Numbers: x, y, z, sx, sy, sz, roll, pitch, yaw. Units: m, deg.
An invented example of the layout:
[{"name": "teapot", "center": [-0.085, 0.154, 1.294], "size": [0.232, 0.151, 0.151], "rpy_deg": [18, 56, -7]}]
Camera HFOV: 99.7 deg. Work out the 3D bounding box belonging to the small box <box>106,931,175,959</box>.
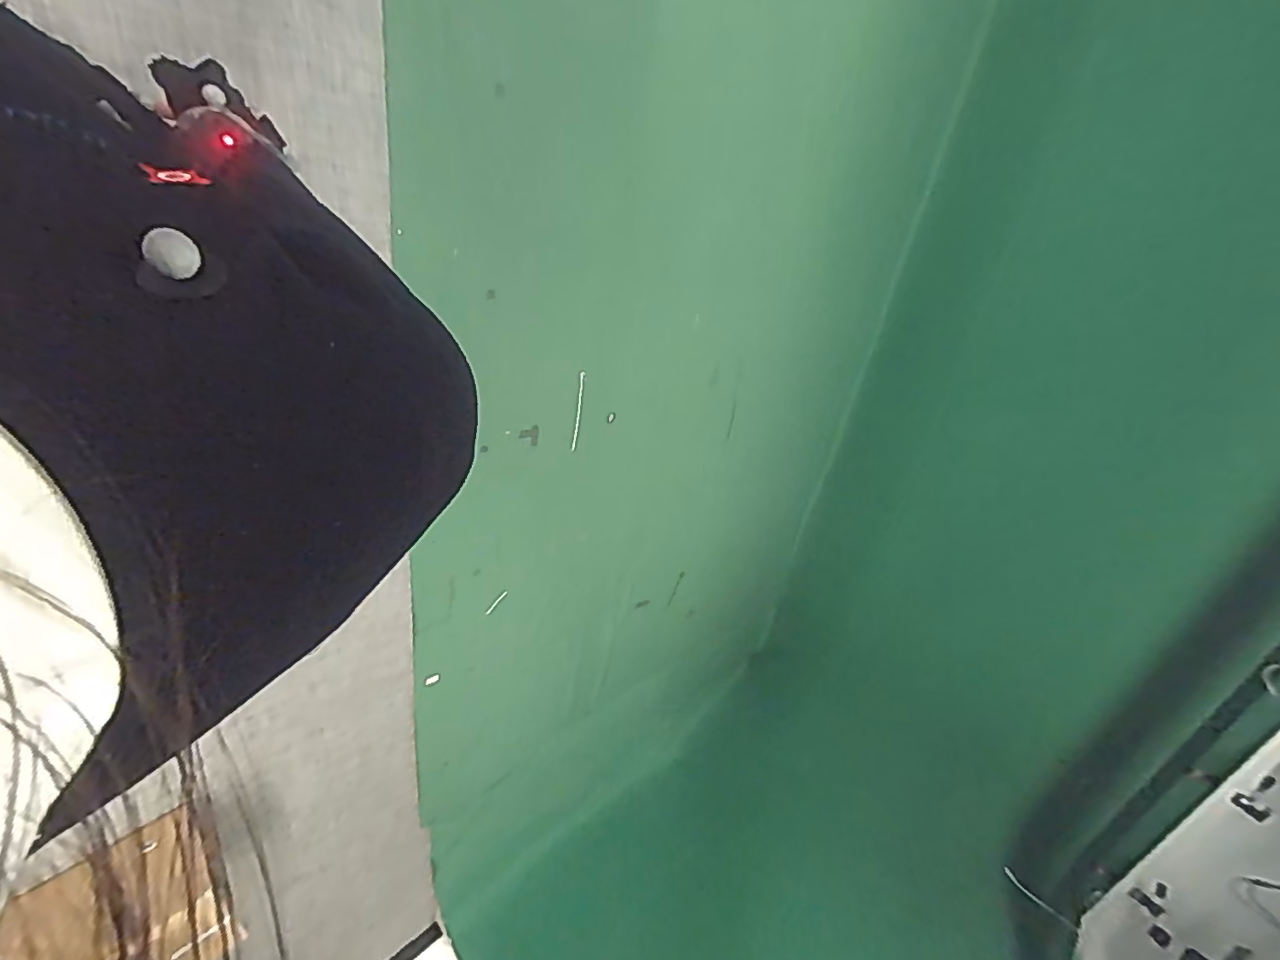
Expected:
[{"name": "small box", "center": [-1.241, 1.259, 1.307], "size": [0.179, 0.176, 0.168], "rpy_deg": [-21, 129, -39]}]
